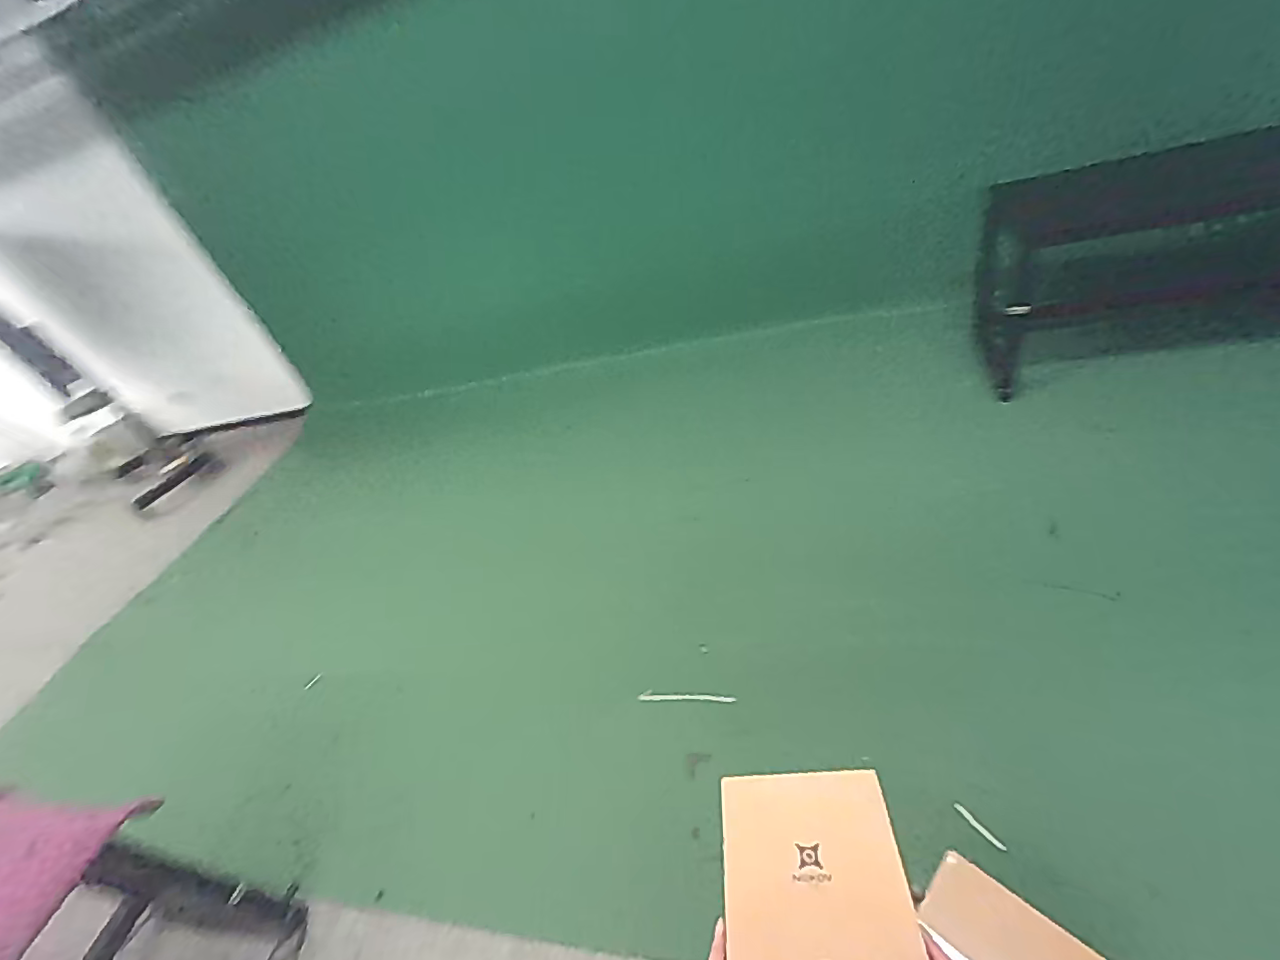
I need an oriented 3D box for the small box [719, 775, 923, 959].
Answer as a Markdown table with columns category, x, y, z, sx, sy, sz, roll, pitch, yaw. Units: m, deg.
| category | x | y | z | sx | sy | sz | roll | pitch | yaw |
| --- | --- | --- | --- | --- | --- | --- | --- | --- | --- |
| small box | 0.174 | 0.434 | 0.550 | 0.168 | 0.176 | 0.179 | -9 | 30 | 11 |
